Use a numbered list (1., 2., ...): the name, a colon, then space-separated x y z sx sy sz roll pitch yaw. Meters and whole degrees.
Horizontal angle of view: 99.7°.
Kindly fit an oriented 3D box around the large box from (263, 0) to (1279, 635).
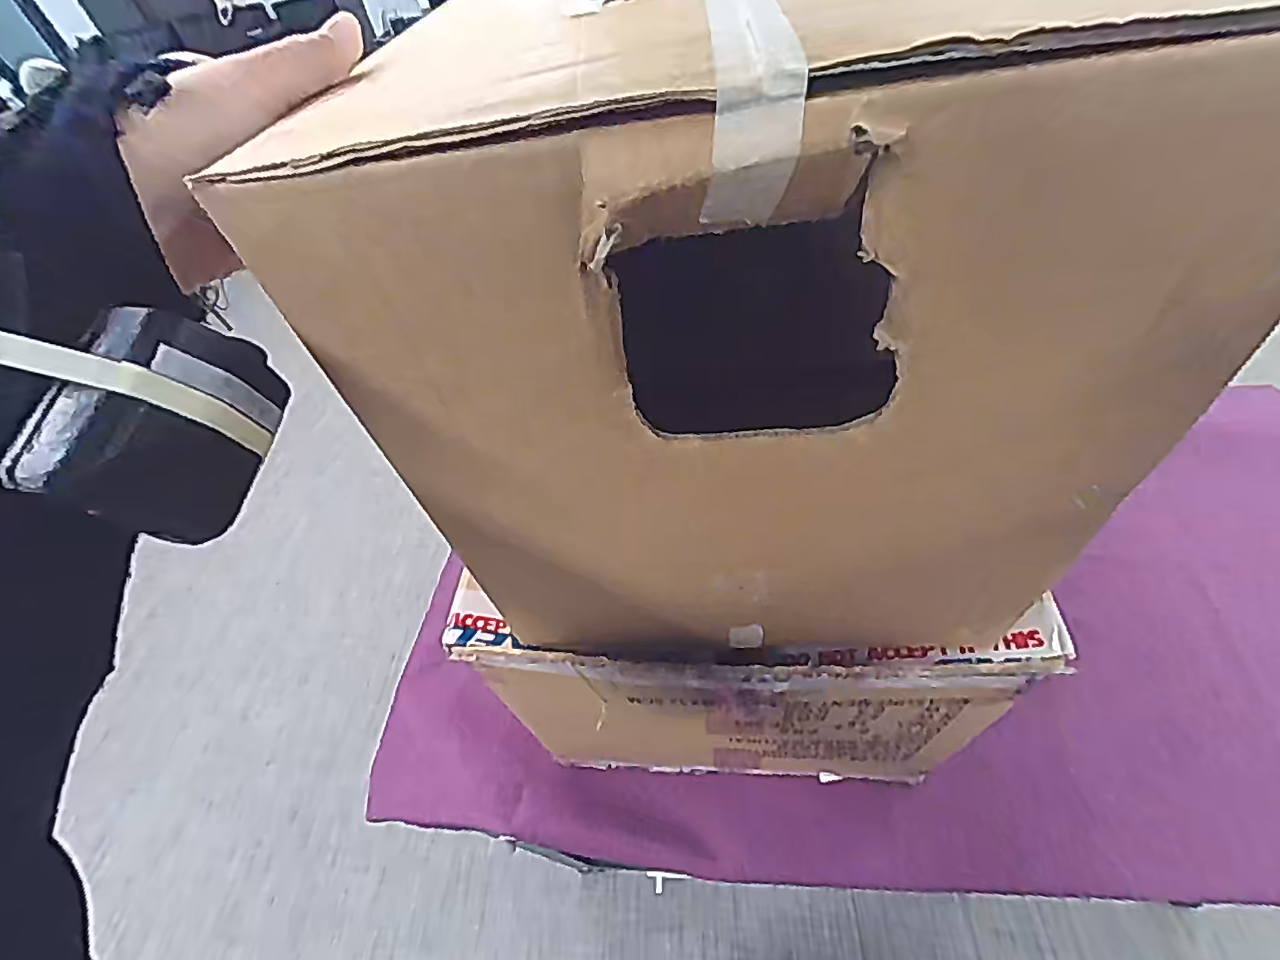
1. large box: 0.065 -0.145 0.374 0.320 0.320 0.408 -4 50 8
